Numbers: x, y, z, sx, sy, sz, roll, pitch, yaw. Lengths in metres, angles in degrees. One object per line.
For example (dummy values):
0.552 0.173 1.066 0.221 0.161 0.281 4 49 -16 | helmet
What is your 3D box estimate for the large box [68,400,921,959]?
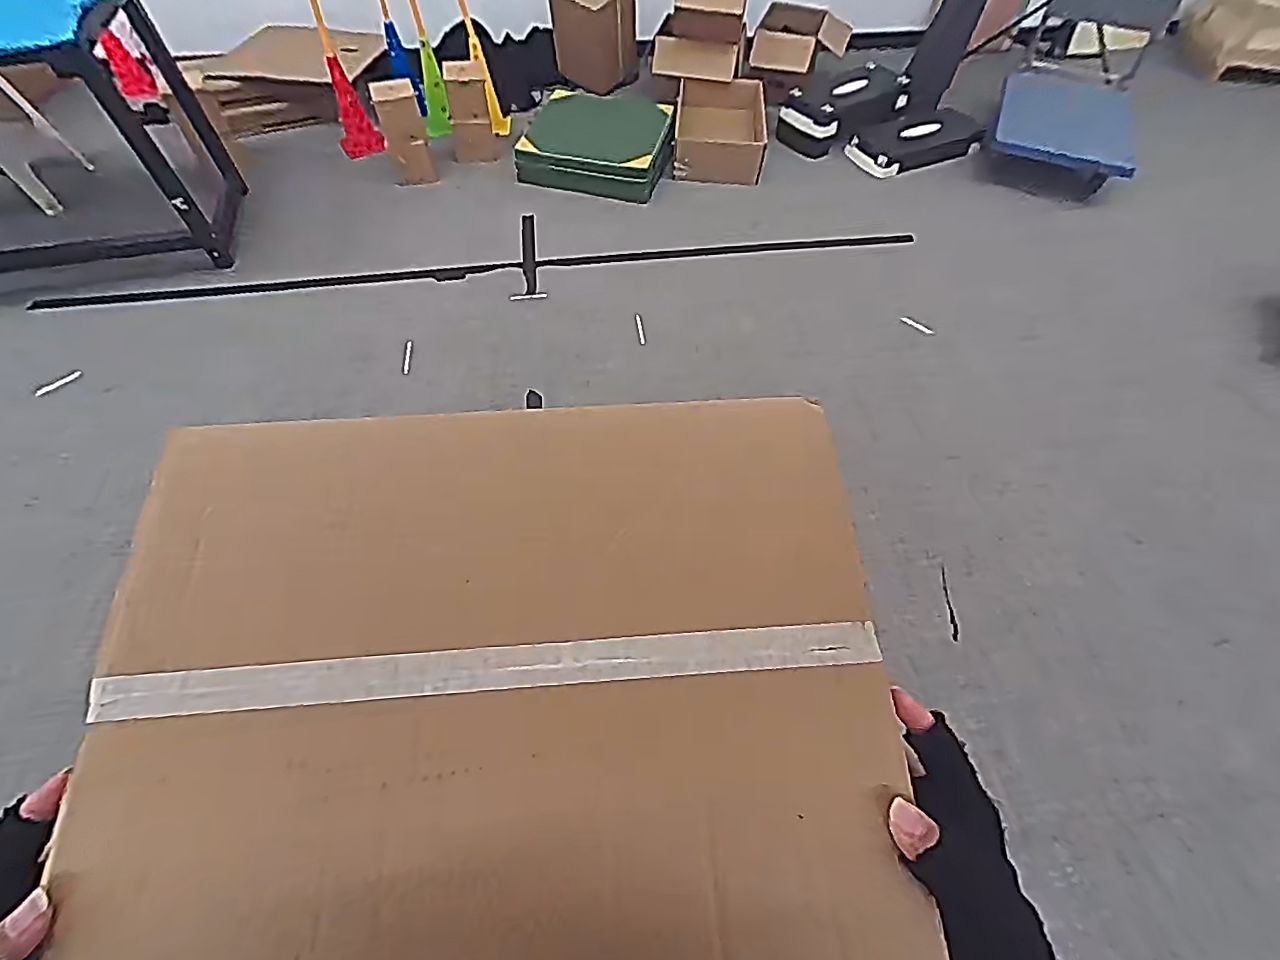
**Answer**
-0.078 0.157 0.440 0.408 0.320 0.320 -3 69 -3 | large box
